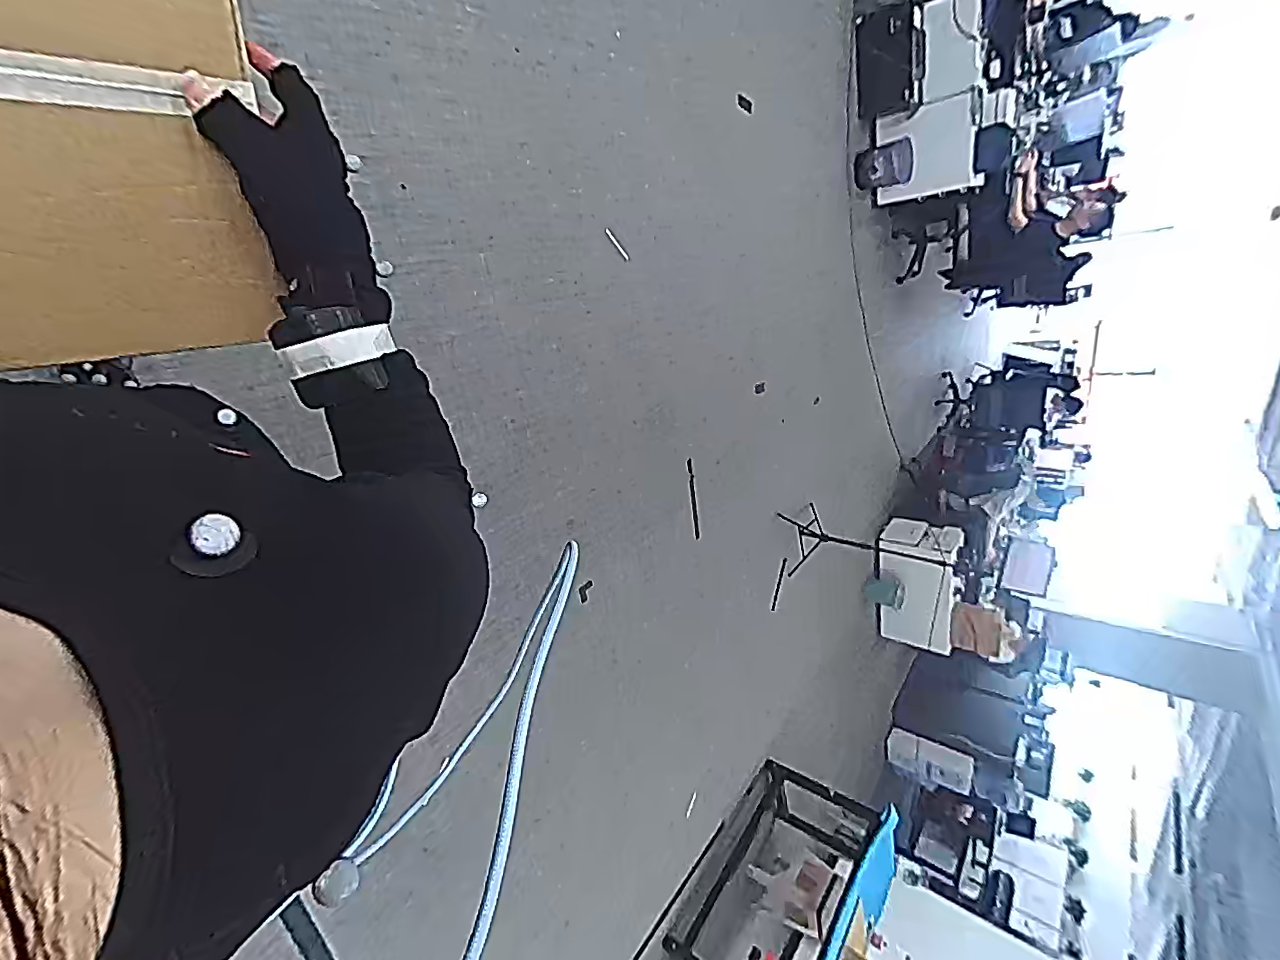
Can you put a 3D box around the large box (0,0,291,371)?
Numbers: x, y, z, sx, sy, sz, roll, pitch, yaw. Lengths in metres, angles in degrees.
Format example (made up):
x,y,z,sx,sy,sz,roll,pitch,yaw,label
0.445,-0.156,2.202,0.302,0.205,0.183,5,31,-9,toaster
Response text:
x,y,z,sx,sy,sz,roll,pitch,yaw,label
-0.489,-0.260,0.296,0.408,0.320,0.320,-22,140,-38,large box
